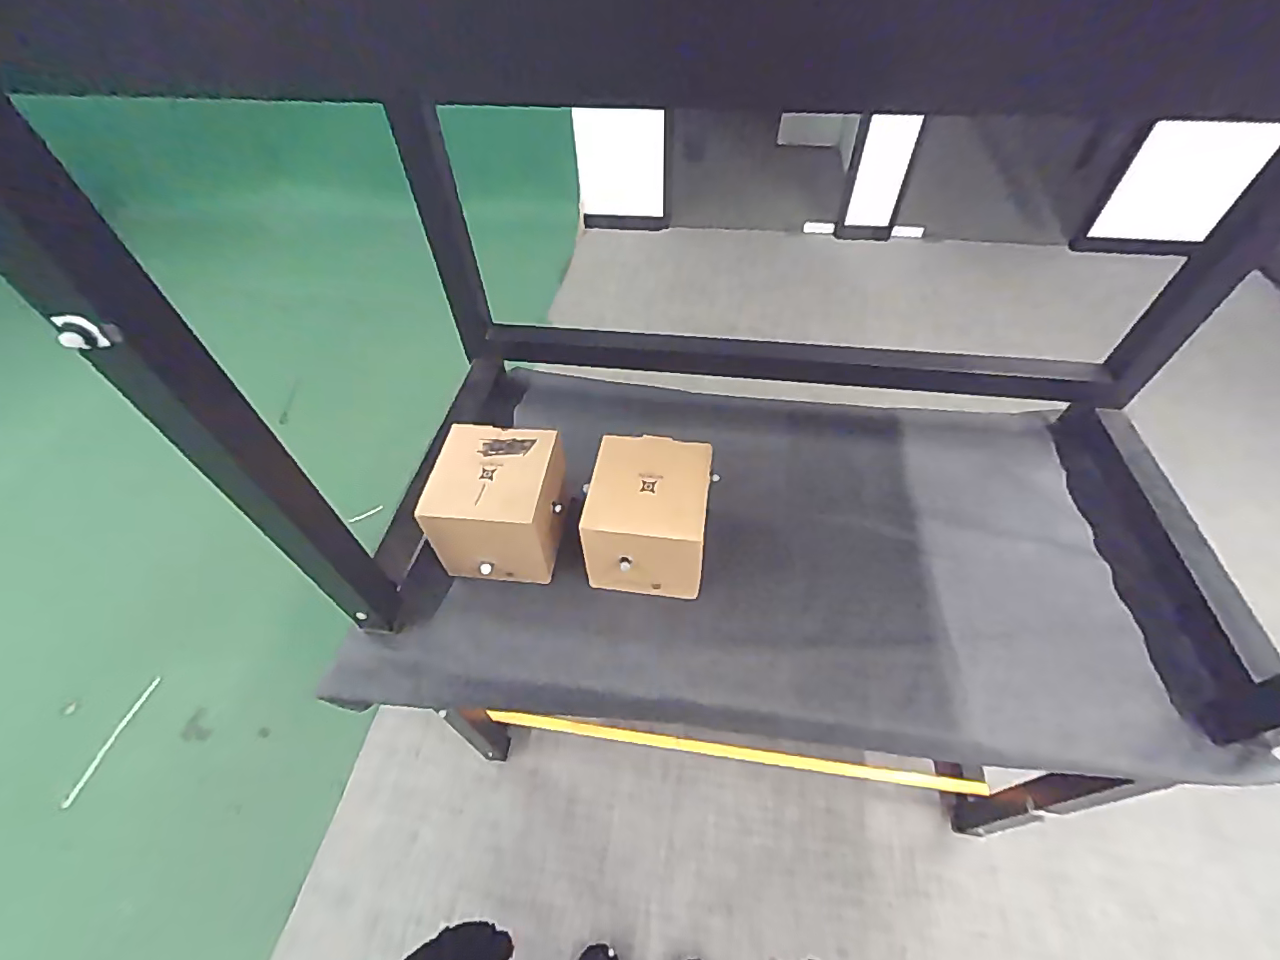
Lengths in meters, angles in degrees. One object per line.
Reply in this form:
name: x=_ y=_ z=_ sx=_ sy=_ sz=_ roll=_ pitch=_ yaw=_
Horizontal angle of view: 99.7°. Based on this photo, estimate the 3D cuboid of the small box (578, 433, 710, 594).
small box: x=0.013 y=0.053 z=0.814 sx=0.168 sy=0.176 sz=0.179 roll=5 pitch=50 yaw=6

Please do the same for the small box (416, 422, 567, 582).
small box: x=-0.212 y=0.034 z=0.834 sx=0.168 sy=0.176 sz=0.179 roll=4 pitch=51 yaw=5
